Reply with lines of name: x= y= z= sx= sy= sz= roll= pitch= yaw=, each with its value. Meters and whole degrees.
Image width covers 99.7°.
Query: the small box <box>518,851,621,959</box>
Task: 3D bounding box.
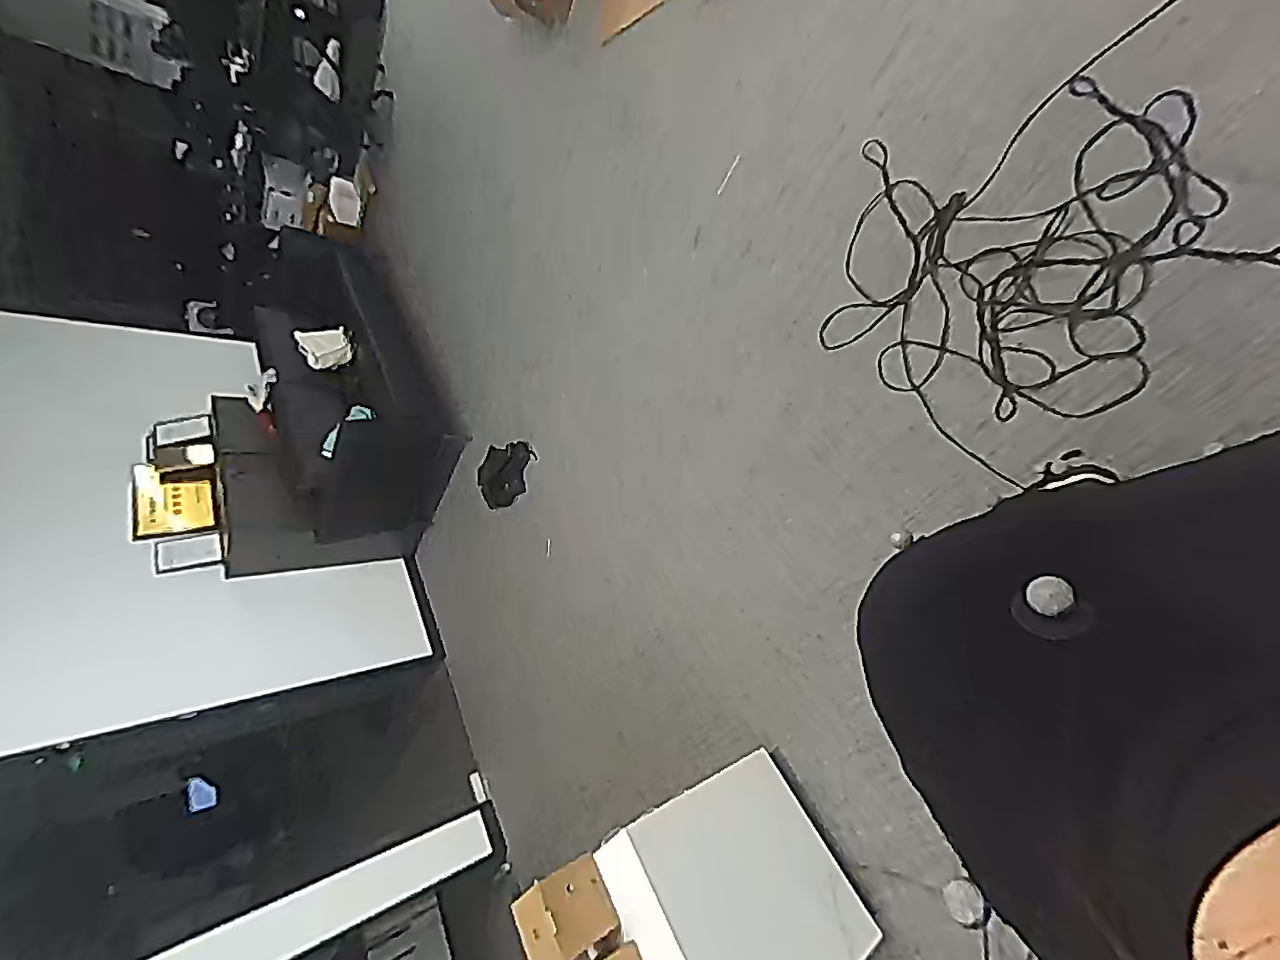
small box: x=-0.170 y=1.054 z=1.327 sx=0.168 sy=0.176 sz=0.179 roll=56 pitch=129 yaw=33
